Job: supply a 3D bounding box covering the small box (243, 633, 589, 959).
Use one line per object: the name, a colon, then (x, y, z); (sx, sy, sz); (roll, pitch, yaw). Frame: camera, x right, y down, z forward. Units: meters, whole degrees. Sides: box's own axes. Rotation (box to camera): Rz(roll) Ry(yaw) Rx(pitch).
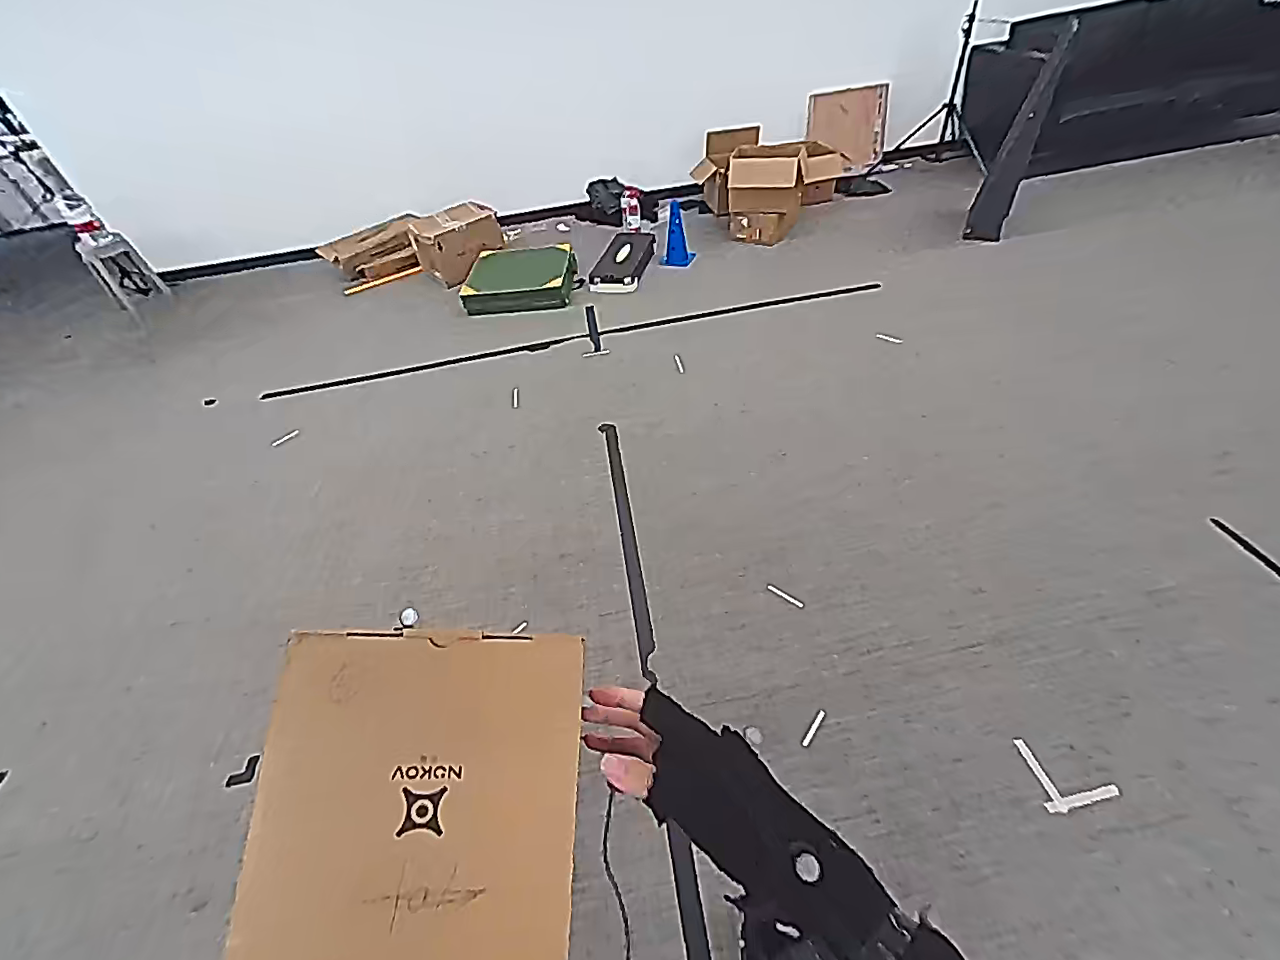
small box: (-0.129, 0.202, 0.378); (0.168, 0.176, 0.179); (4, 73, -8)
